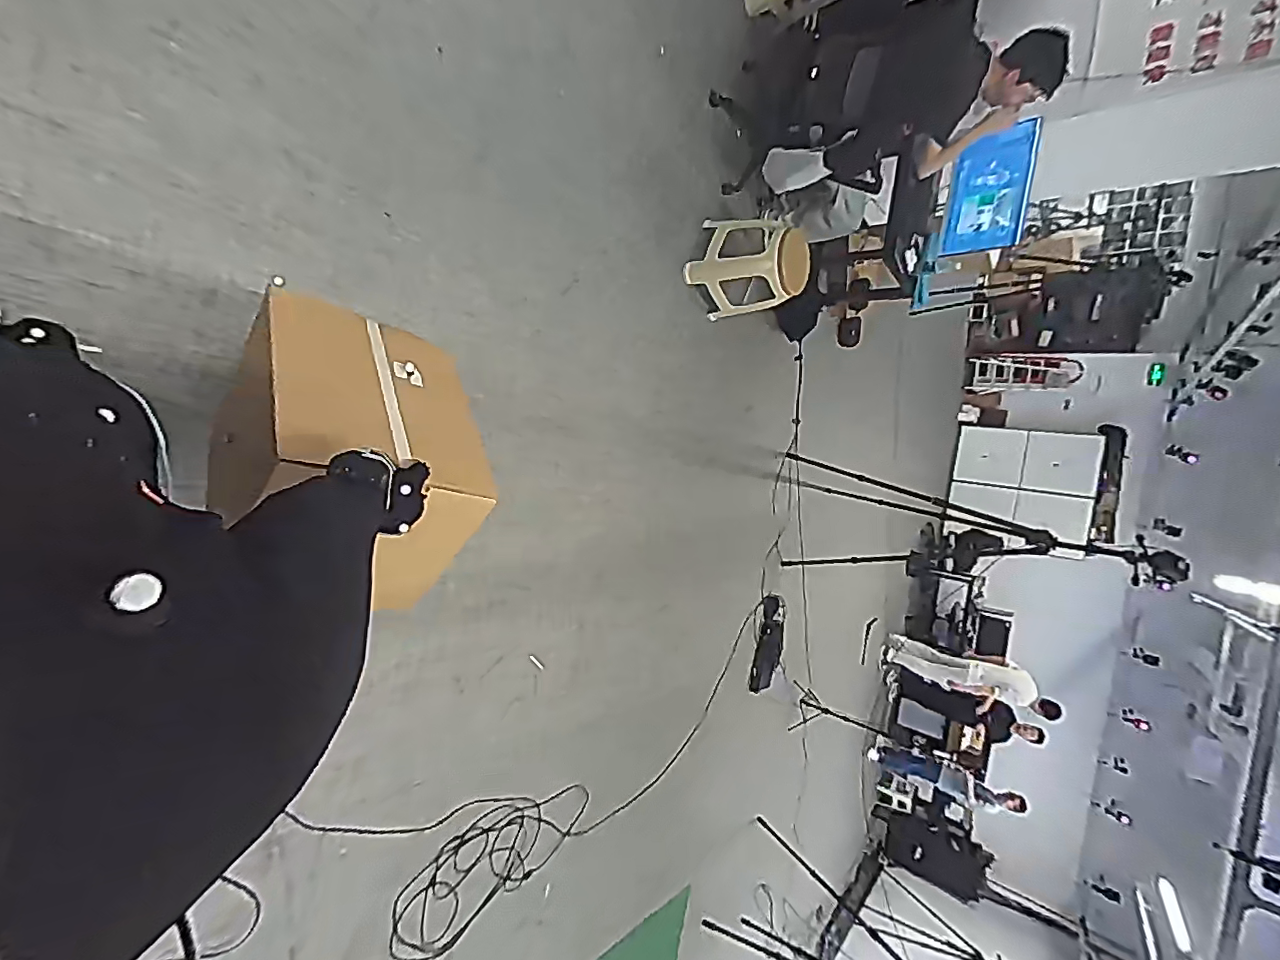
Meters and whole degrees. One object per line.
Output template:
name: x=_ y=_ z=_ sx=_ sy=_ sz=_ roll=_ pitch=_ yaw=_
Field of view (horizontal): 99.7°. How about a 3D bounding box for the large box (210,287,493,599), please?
large box: x=-0.513 y=-0.045 z=0.936 sx=0.320 sy=0.408 sz=0.320 roll=16 pitch=125 yaw=-47
